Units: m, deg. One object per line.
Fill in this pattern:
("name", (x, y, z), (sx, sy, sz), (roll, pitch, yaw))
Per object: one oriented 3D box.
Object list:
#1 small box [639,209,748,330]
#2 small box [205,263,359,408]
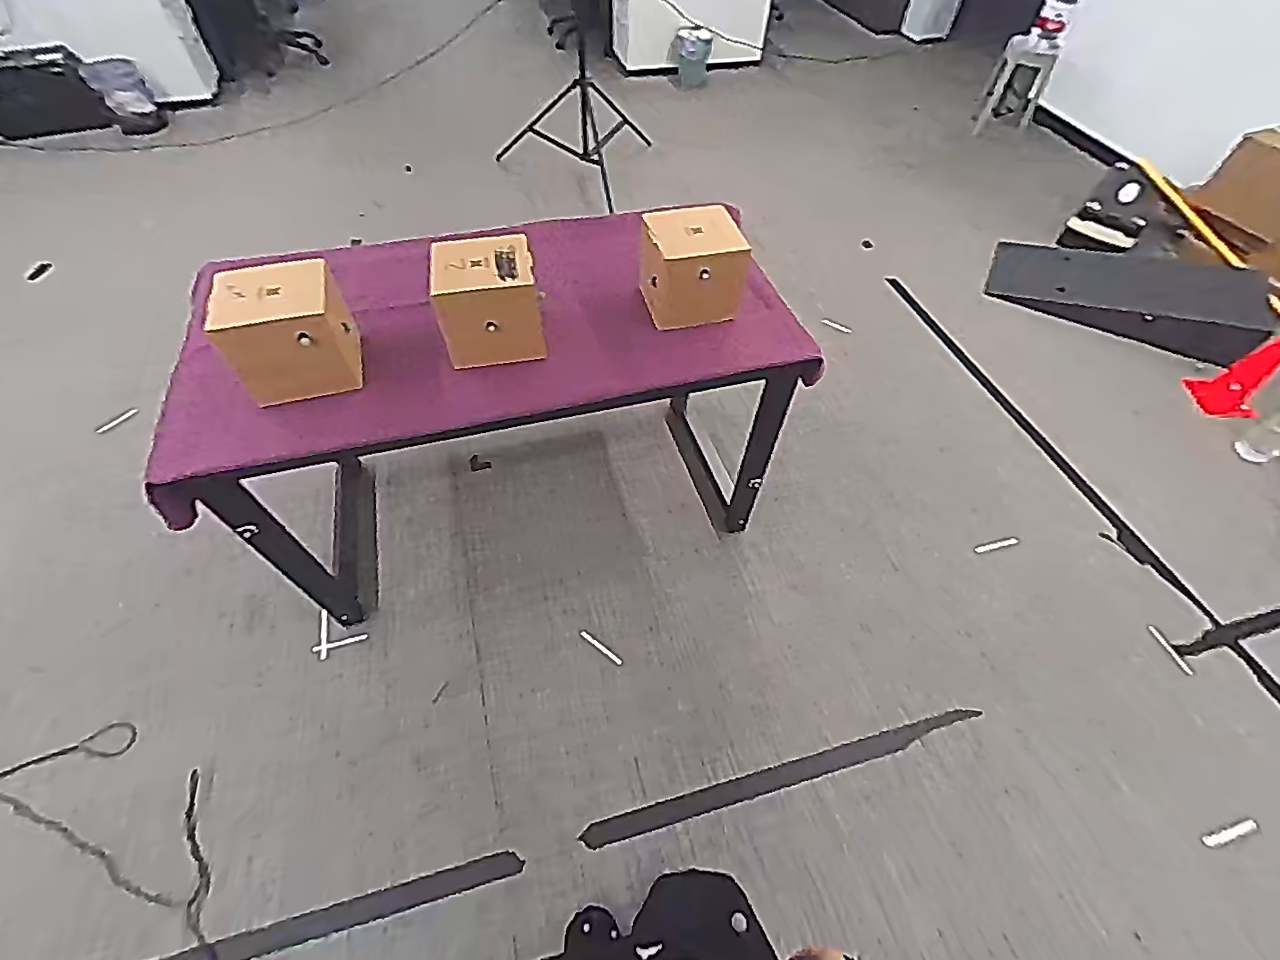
("small box", (0.101, -0.429, 1.114), (0.179, 0.176, 0.168), (-11, 56, -11))
("small box", (-0.614, -0.253, 0.956), (0.179, 0.176, 0.168), (-15, 54, -12))
